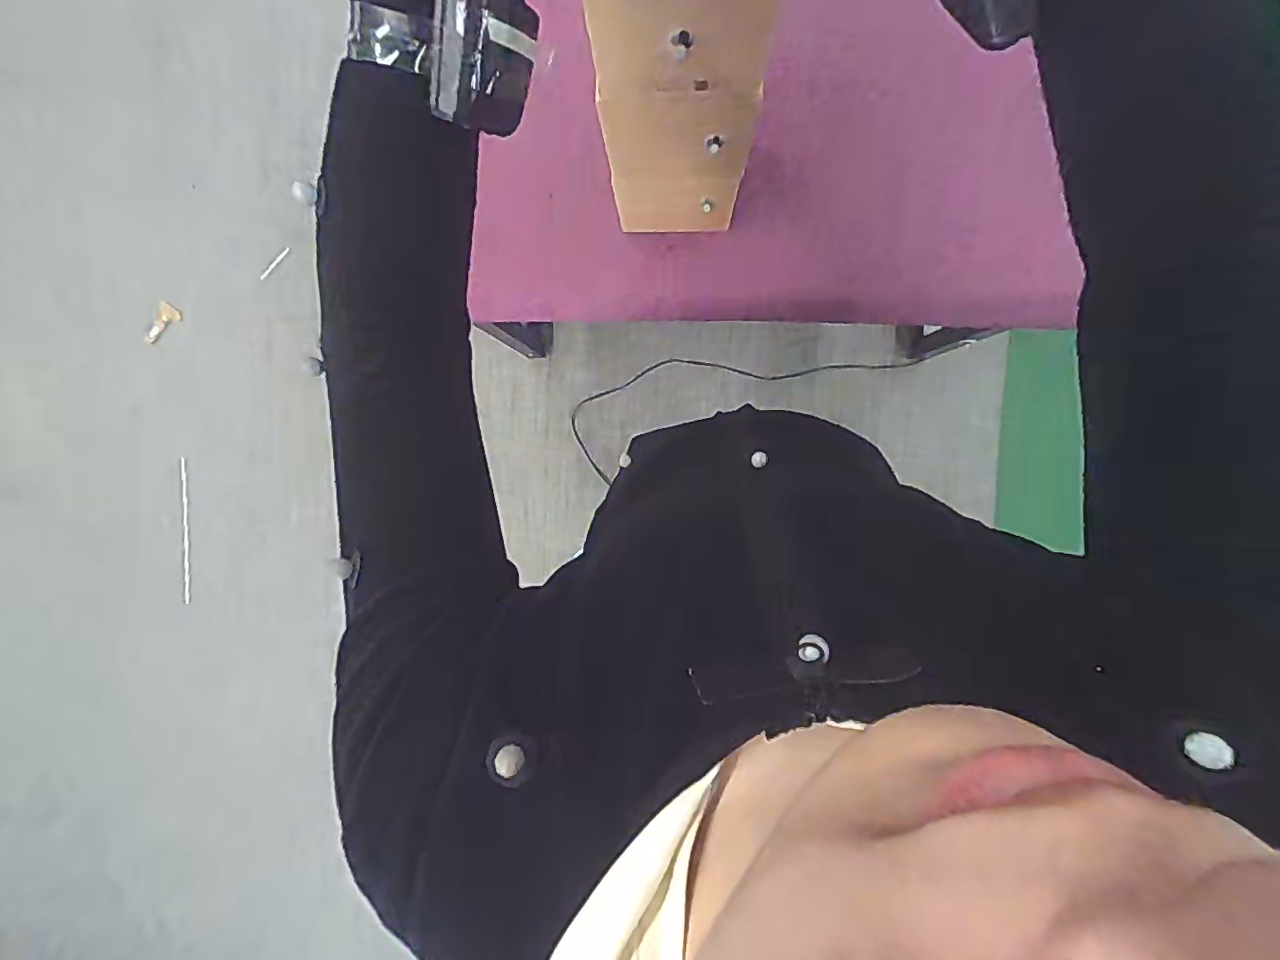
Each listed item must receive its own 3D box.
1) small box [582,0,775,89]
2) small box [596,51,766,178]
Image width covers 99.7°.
[{"bbox_3d":[0.036,-0.478,0.473,0.168,0.176,0.179,0,93,3],"label":"small box"},{"bbox_3d":[0.048,-0.479,0.636,0.179,0.176,0.168,2,93,4],"label":"small box"}]
